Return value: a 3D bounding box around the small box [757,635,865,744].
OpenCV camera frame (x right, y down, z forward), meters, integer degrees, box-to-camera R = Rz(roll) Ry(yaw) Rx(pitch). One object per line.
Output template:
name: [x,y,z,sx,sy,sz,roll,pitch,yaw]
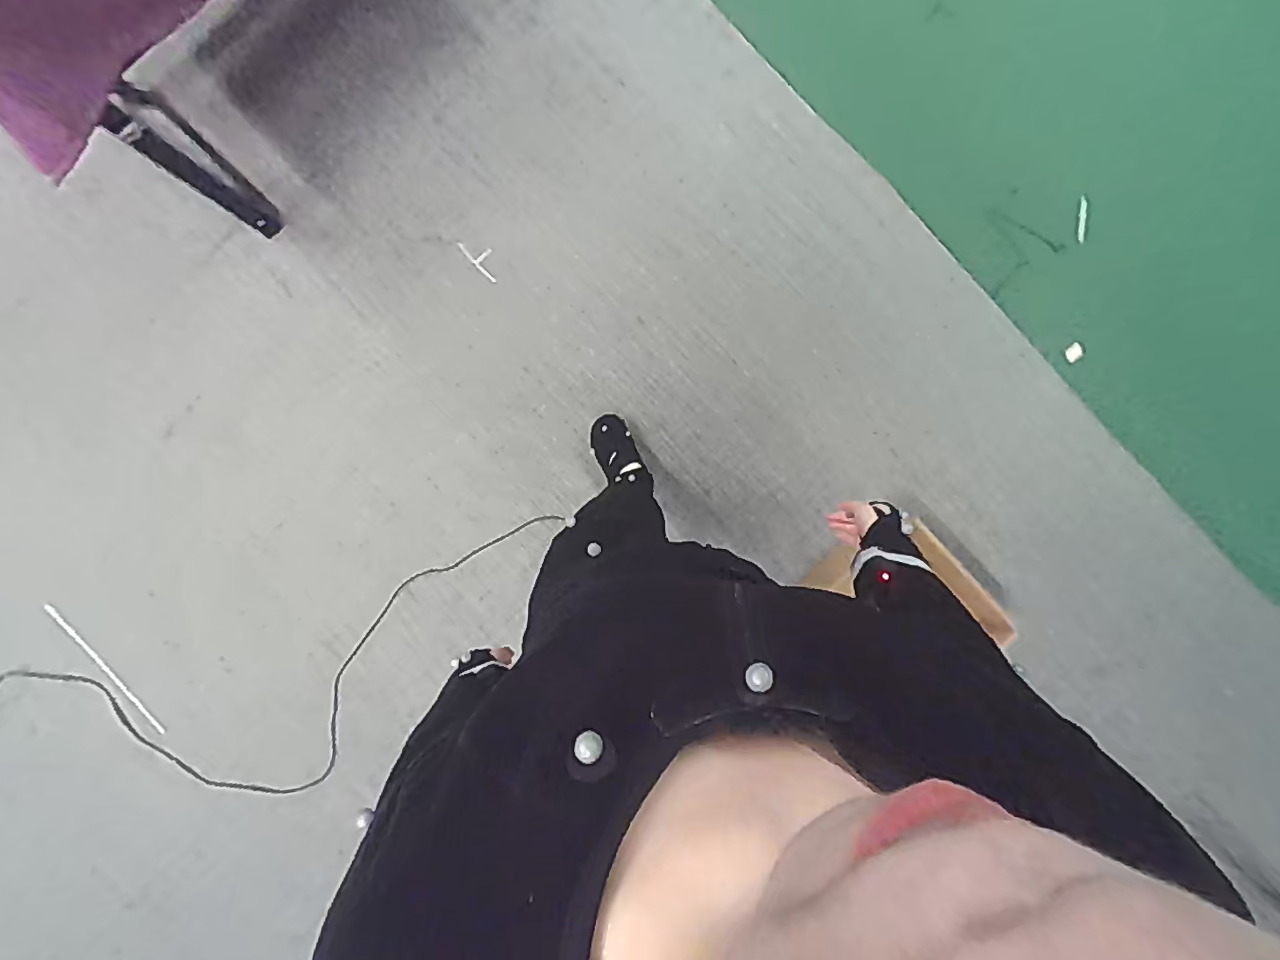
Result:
small box: [0.420,0.515,1.367,0.168,0.176,0.179,-40,89,-1]
